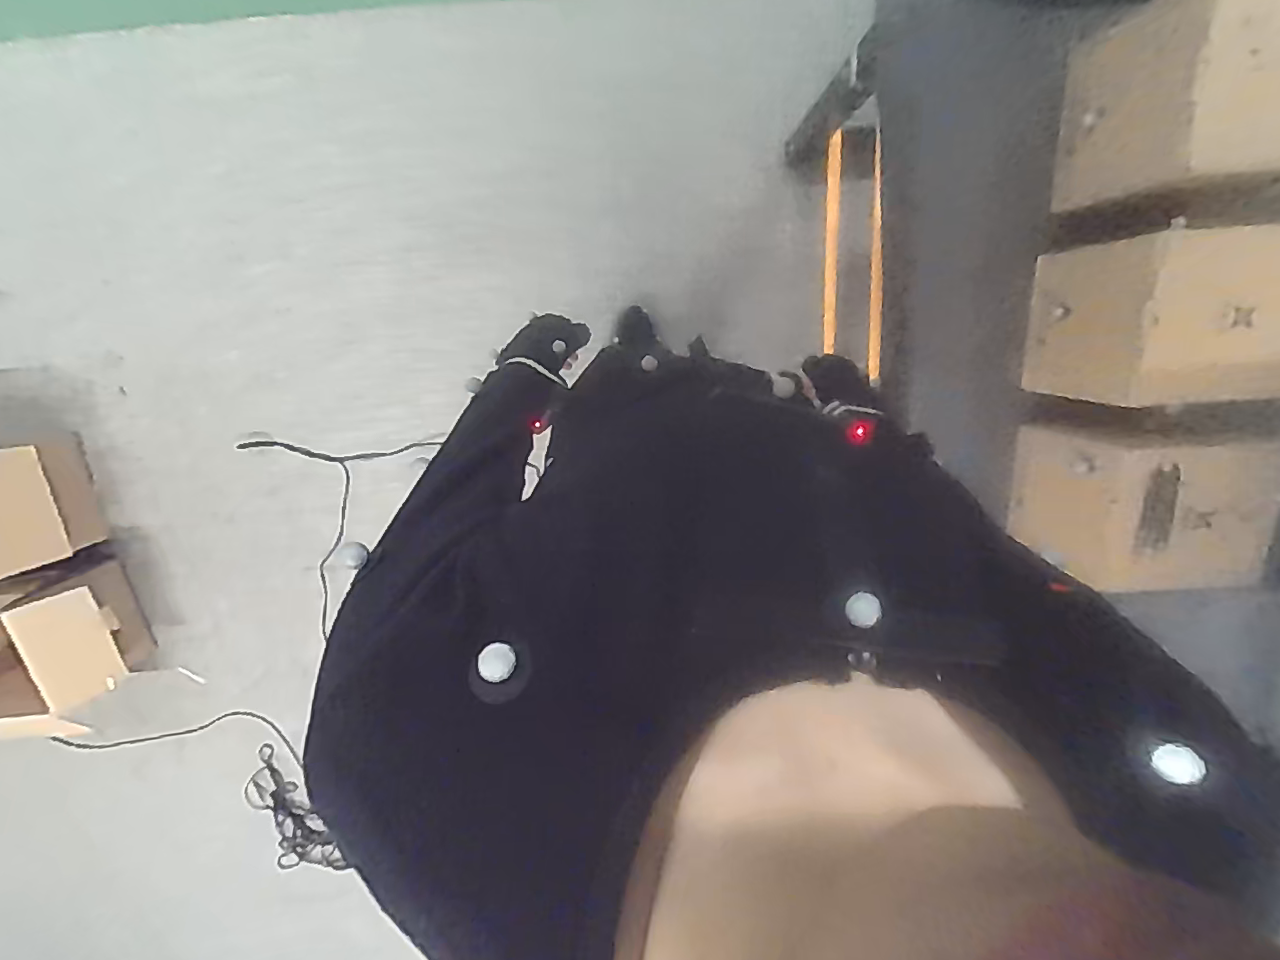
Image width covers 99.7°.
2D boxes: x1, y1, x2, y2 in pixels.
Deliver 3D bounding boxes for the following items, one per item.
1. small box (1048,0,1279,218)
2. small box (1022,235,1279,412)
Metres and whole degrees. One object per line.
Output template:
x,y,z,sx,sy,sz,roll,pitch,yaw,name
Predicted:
0.570,-0.373,0.548,0.179,0.176,0.168,-4,105,1,small box
0.578,-0.174,0.604,0.179,0.176,0.168,-4,106,2,small box
